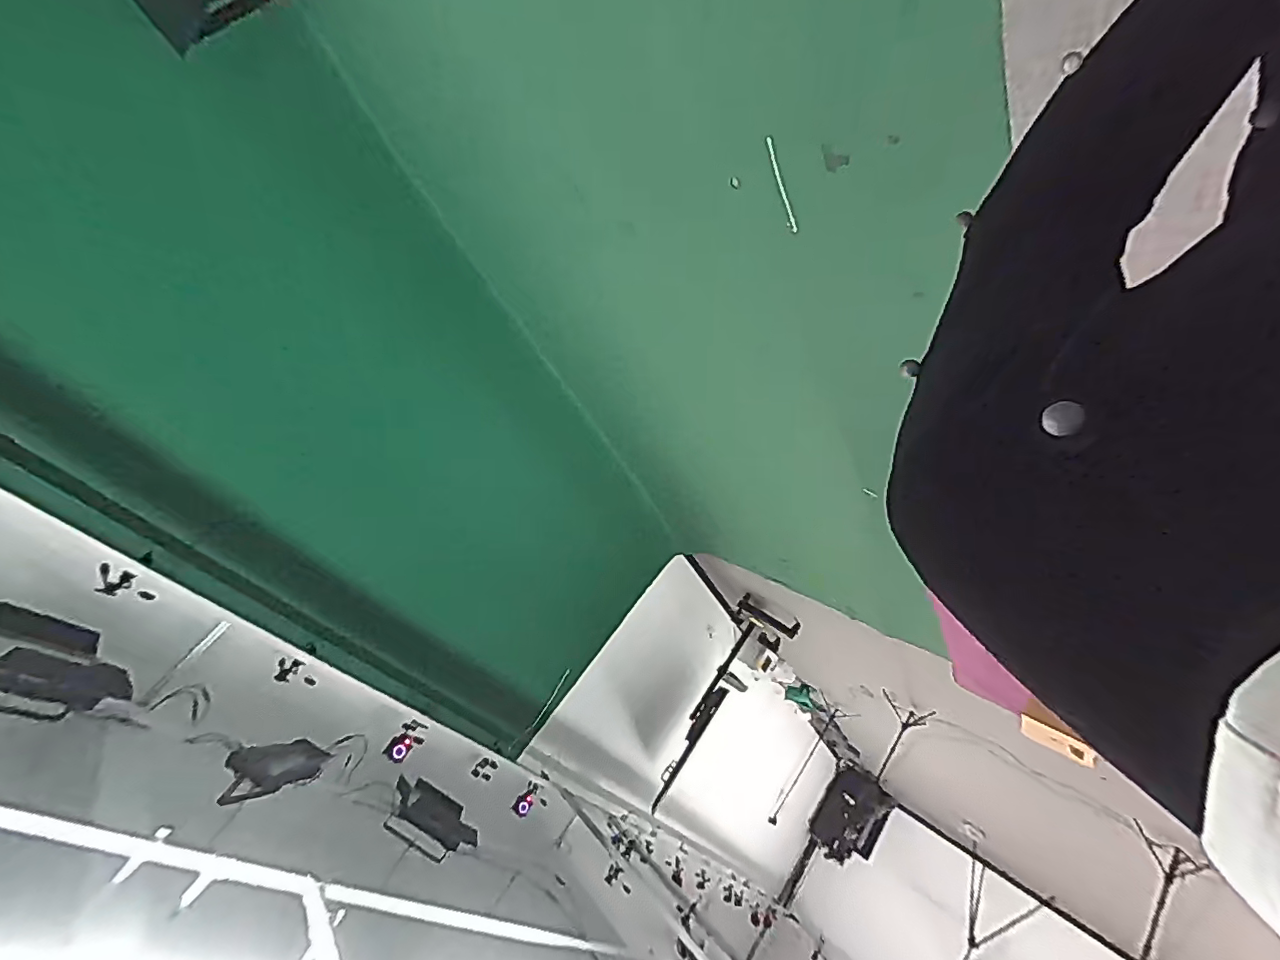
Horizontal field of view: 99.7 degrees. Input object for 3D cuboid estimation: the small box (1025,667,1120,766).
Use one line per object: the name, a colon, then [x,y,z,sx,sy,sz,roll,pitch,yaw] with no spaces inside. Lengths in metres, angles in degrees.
small box: [1.232,0.668,1.543,0.179,0.176,0.168,20,154,45]
